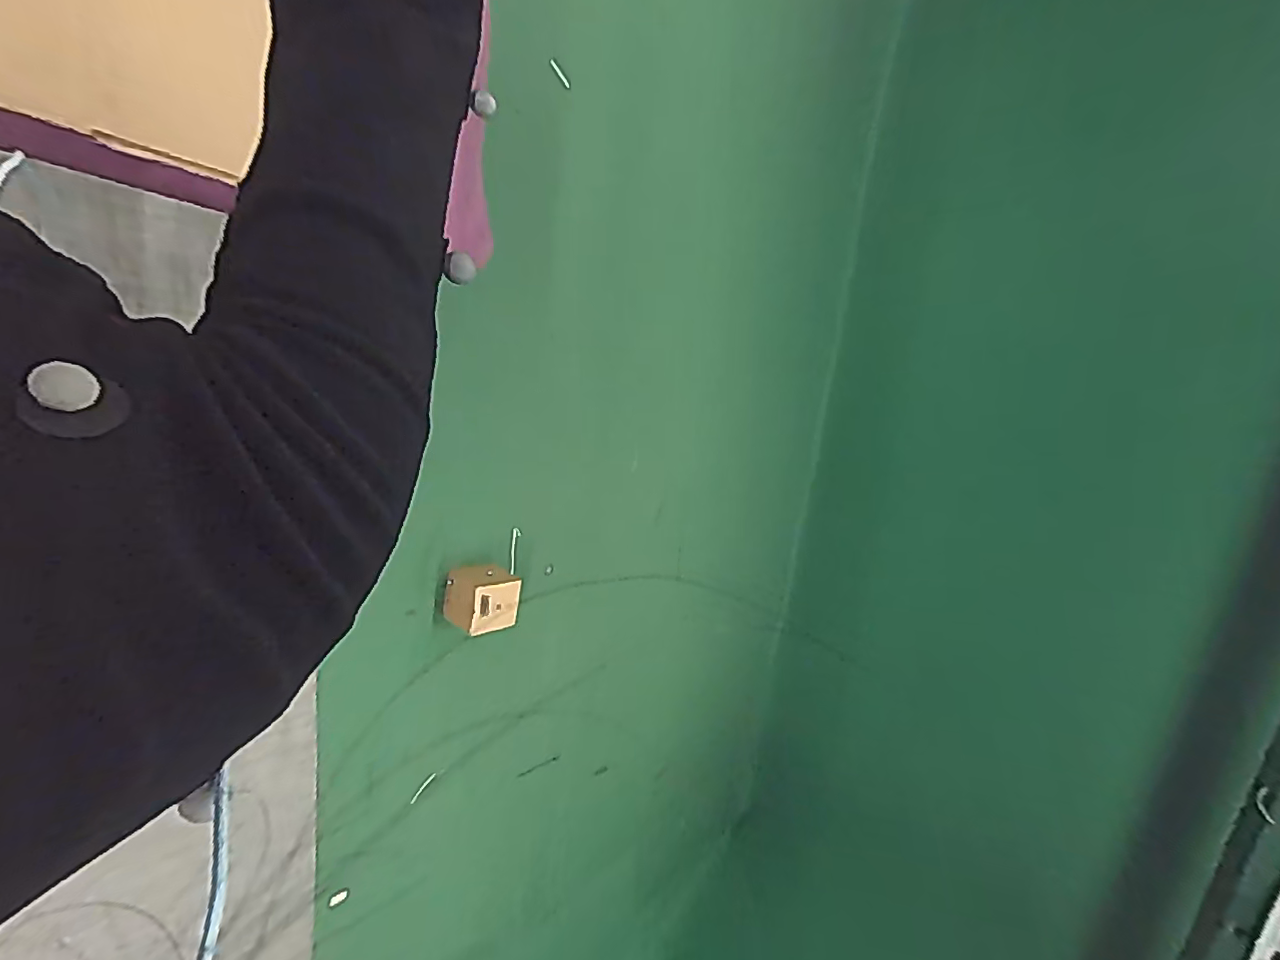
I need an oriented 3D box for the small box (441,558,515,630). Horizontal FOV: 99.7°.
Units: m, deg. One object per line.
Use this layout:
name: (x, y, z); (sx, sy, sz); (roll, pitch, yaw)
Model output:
small box: (-0.542, 0.373, 1.799); (0.179, 0.176, 0.168); (-5, 107, -48)
